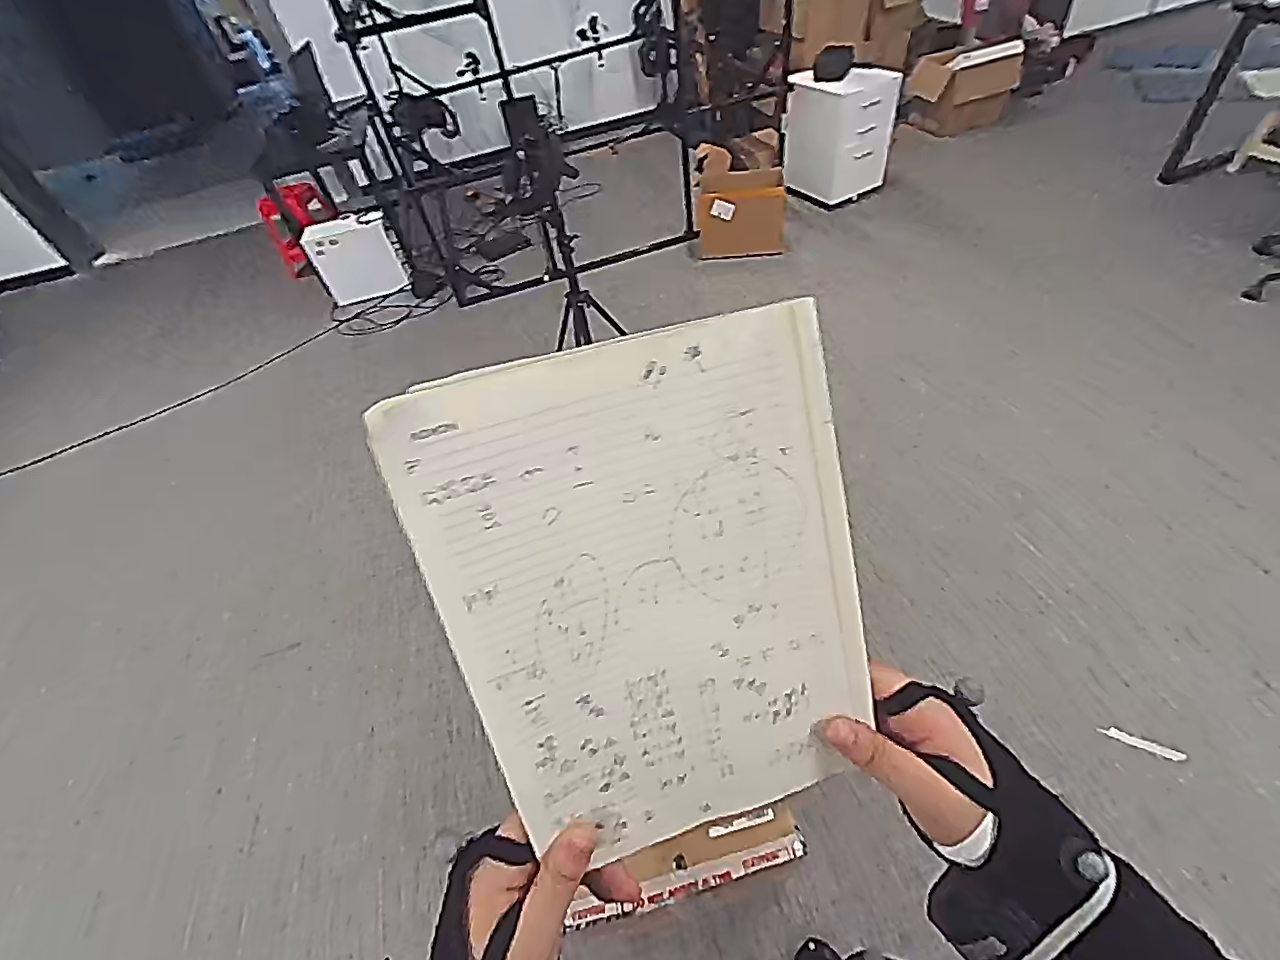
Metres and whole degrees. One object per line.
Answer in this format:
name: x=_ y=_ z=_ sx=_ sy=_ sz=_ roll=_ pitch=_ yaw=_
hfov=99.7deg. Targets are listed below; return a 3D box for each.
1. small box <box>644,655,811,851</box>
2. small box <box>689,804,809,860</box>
small box: x=0.103 y=0.361 z=0.712 sx=0.168 sy=0.176 sz=0.179 roll=-12 pitch=50 yaw=-4
small box: x=0.137 y=0.462 z=0.839 sx=0.179 sy=0.176 sz=0.168 roll=-15 pitch=49 yaw=-6
